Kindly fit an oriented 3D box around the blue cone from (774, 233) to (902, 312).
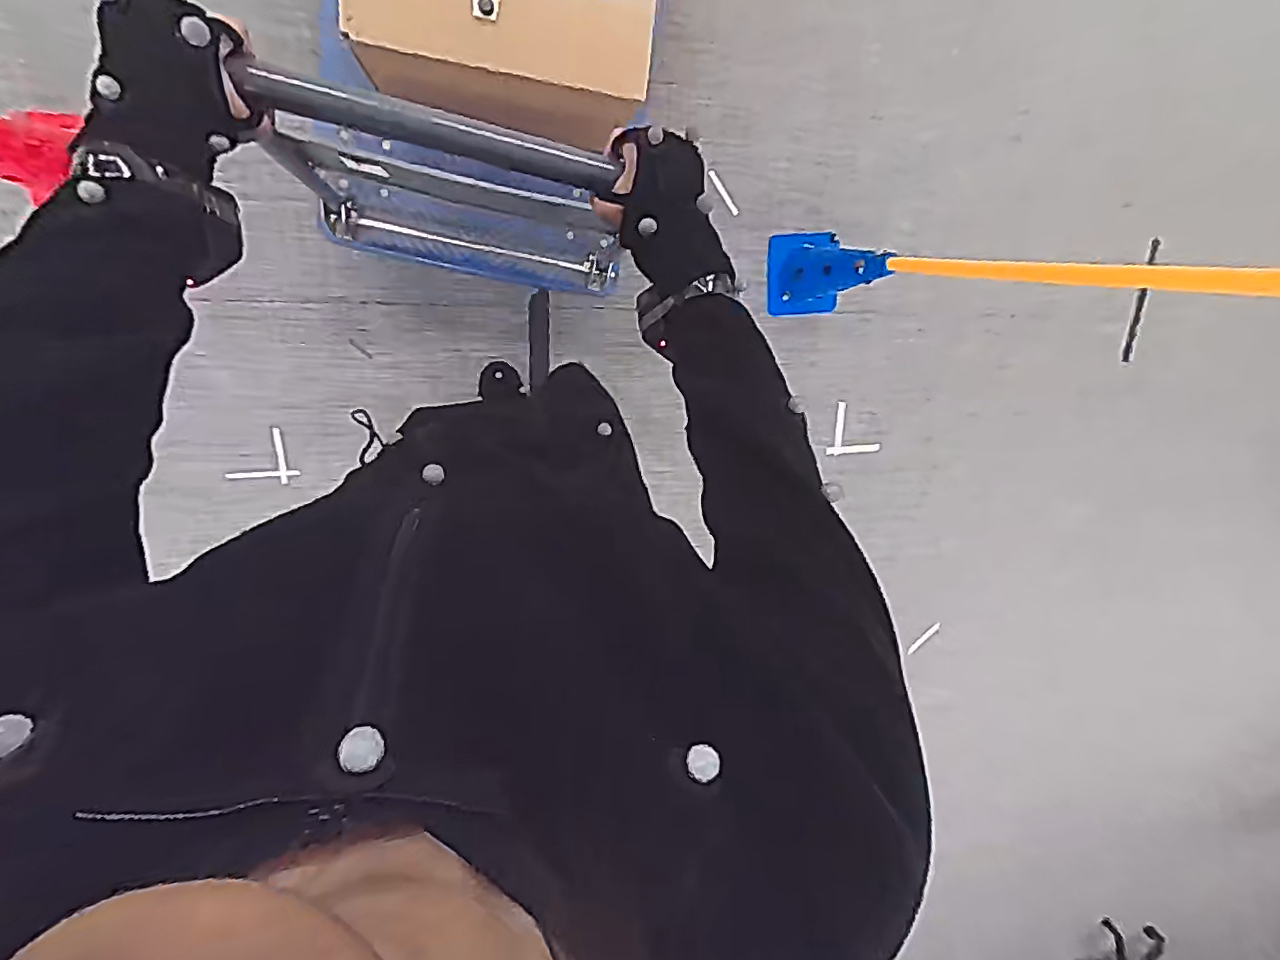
[{"bbox_3d":[0.474,-0.497,1.263,0.193,0.380,0.192,-6,107,-12],"label":"blue cone"}]
